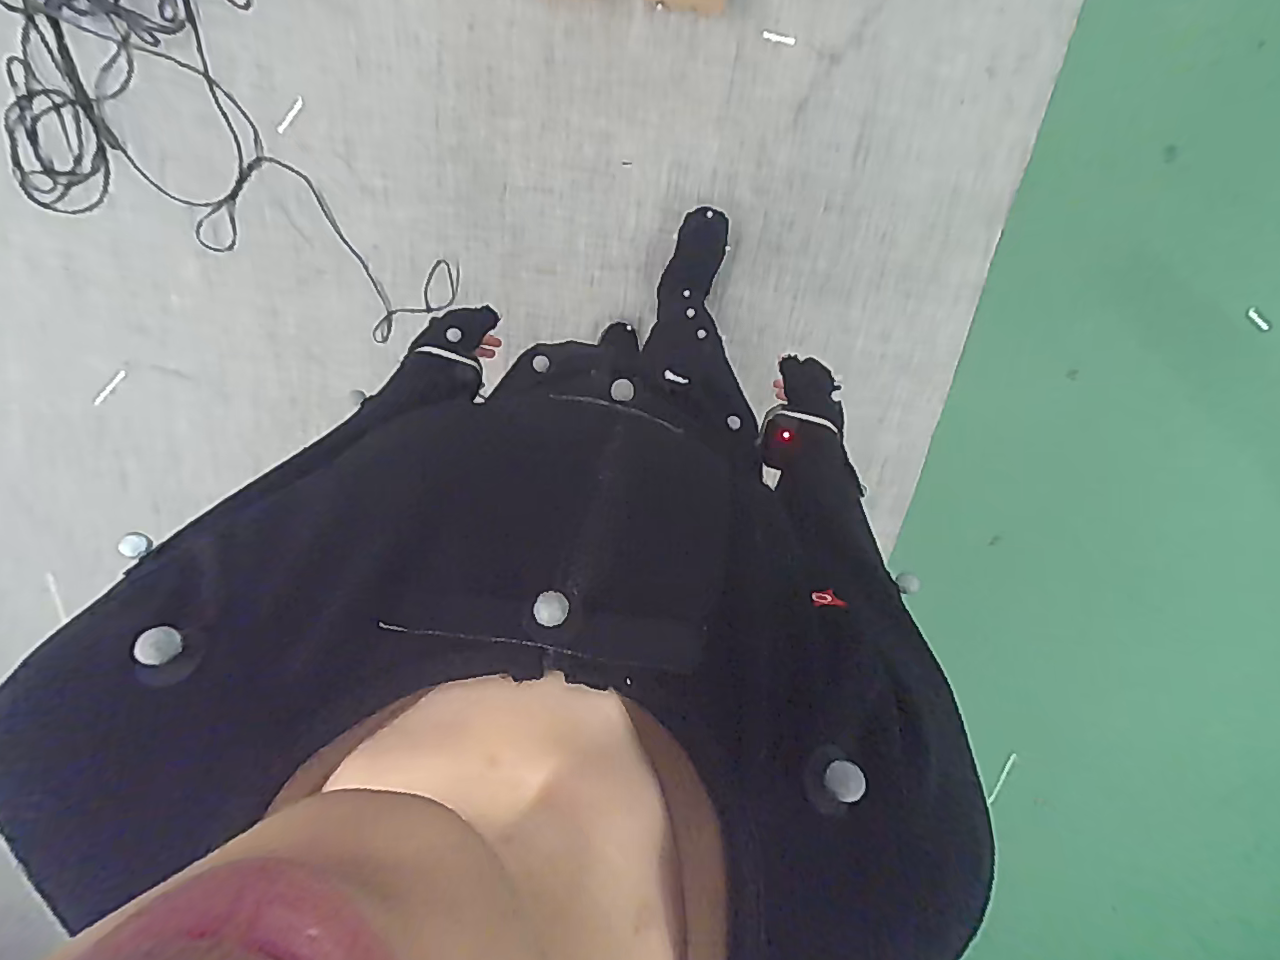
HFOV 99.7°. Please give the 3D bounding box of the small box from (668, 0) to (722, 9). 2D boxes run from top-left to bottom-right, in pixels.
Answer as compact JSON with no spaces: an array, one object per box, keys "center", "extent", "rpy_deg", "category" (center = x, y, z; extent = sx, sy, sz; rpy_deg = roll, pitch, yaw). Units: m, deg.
[{"center":[0.097,-1.043,1.027],"extent":[0.168,0.176,0.179],"rpy_deg":[8,110,-2],"category":"small box"}]
